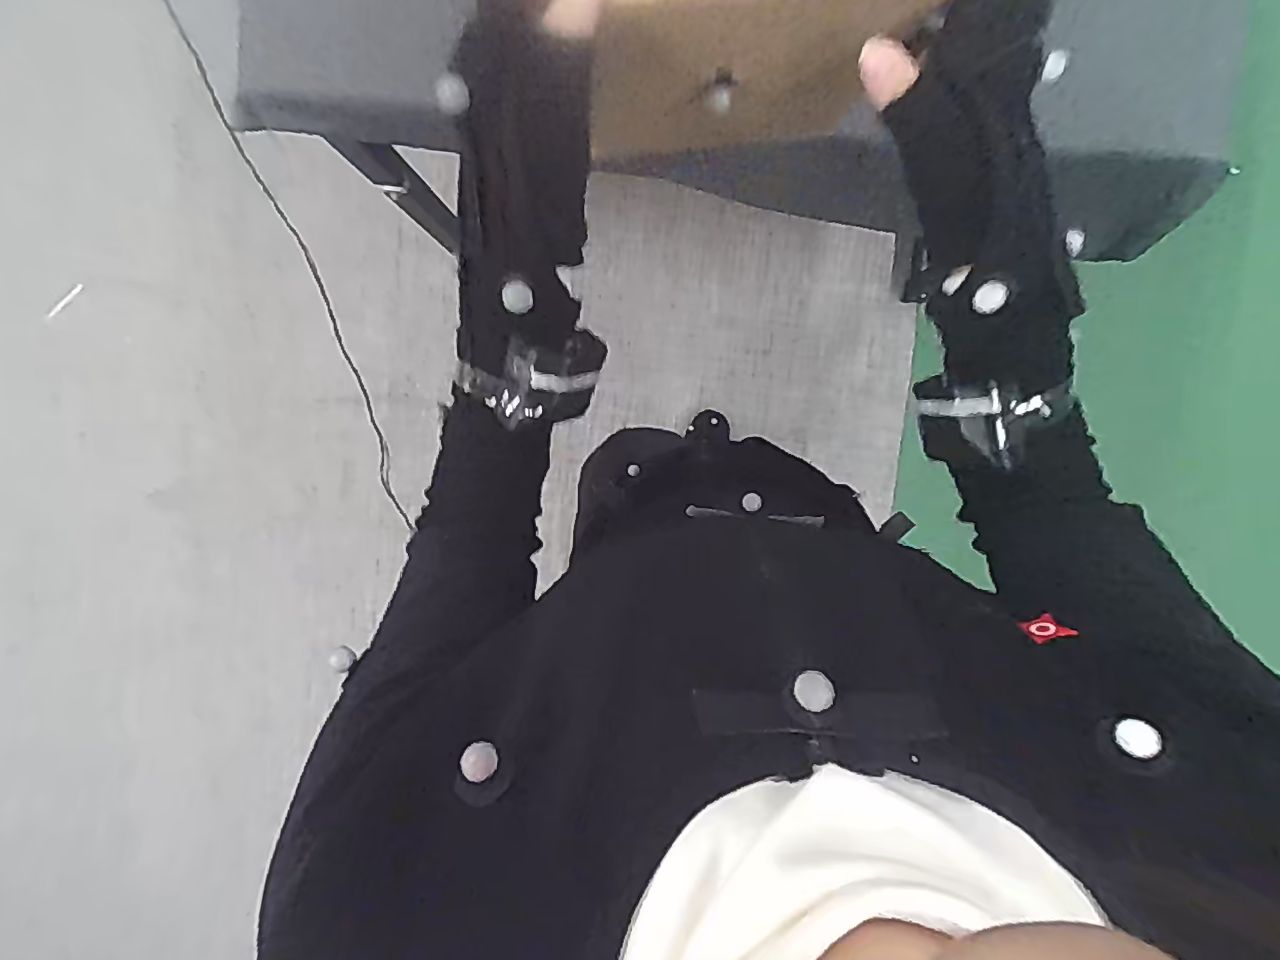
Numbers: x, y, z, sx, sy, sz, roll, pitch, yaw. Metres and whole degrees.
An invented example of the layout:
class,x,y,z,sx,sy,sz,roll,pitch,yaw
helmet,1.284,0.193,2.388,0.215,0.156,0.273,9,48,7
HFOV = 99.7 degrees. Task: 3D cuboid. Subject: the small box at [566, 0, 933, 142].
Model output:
class,x,y,z,sx,sy,sz,roll,pitch,yaw
small box,0.043,-0.302,0.278,0.179,0.176,0.168,-9,104,0
